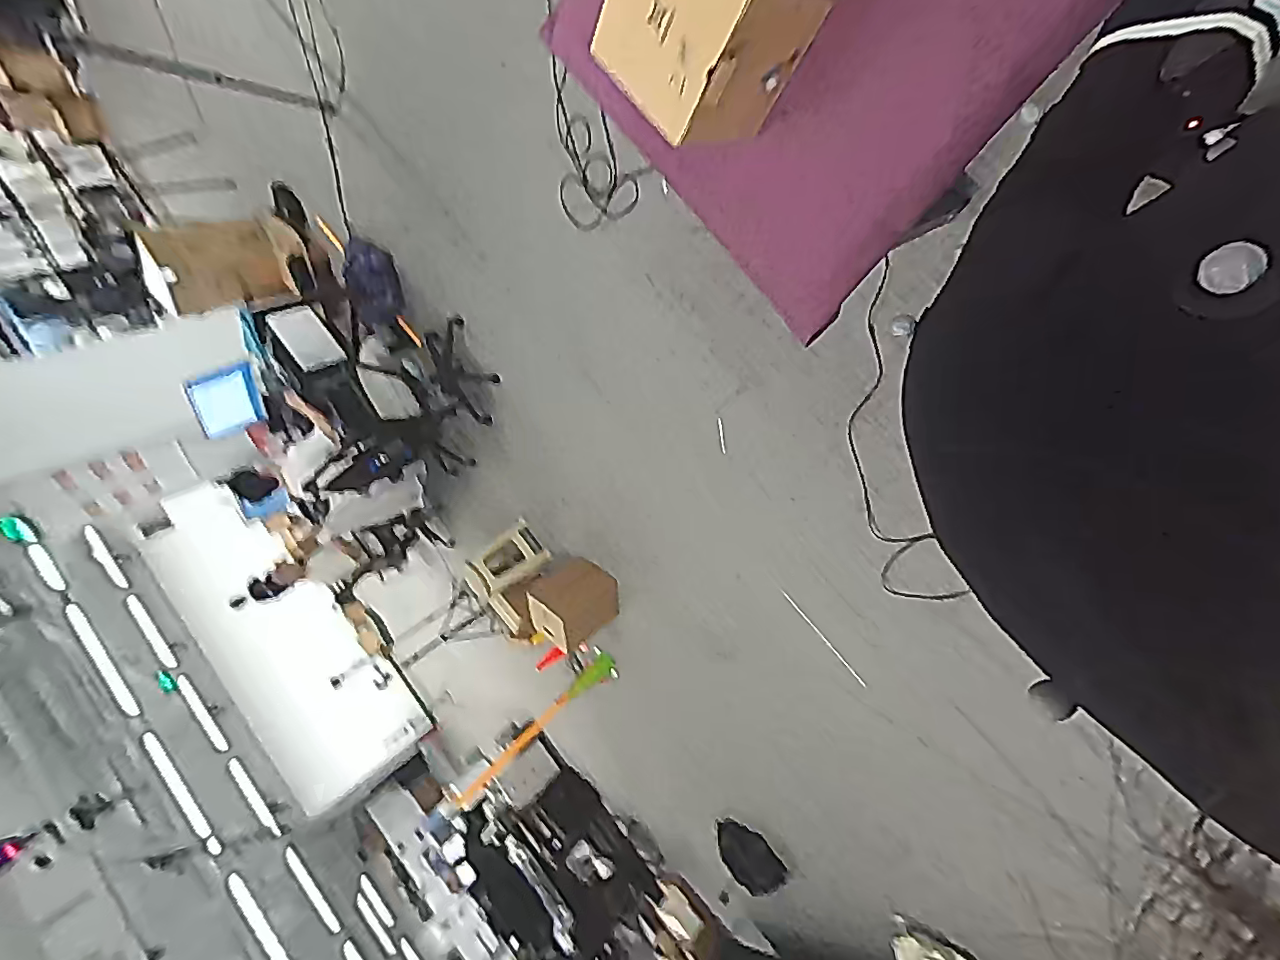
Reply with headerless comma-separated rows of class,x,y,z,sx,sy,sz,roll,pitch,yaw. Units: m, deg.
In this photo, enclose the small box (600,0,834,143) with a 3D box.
small box,0.089,-0.540,0.645,0.179,0.176,0.168,52,144,7
